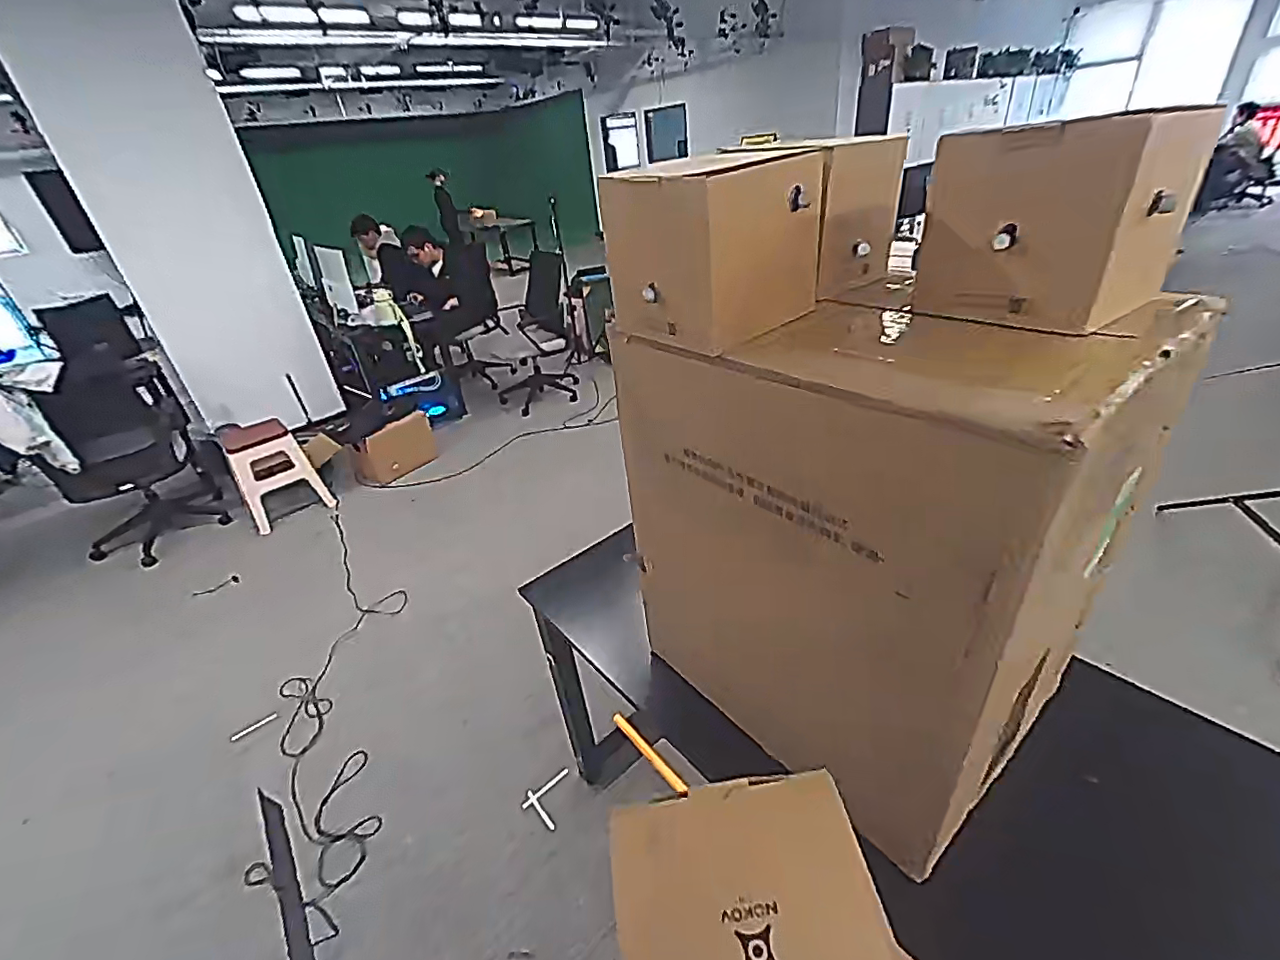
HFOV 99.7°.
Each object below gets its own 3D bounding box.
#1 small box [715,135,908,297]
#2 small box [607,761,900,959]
[{"bbox_3d":[0.216,-0.348,0.714,0.168,0.176,0.179,-27,38,-30],"label":"small box"},{"bbox_3d":[0.070,0.331,0.379,0.168,0.176,0.179,-8,42,-4],"label":"small box"}]
